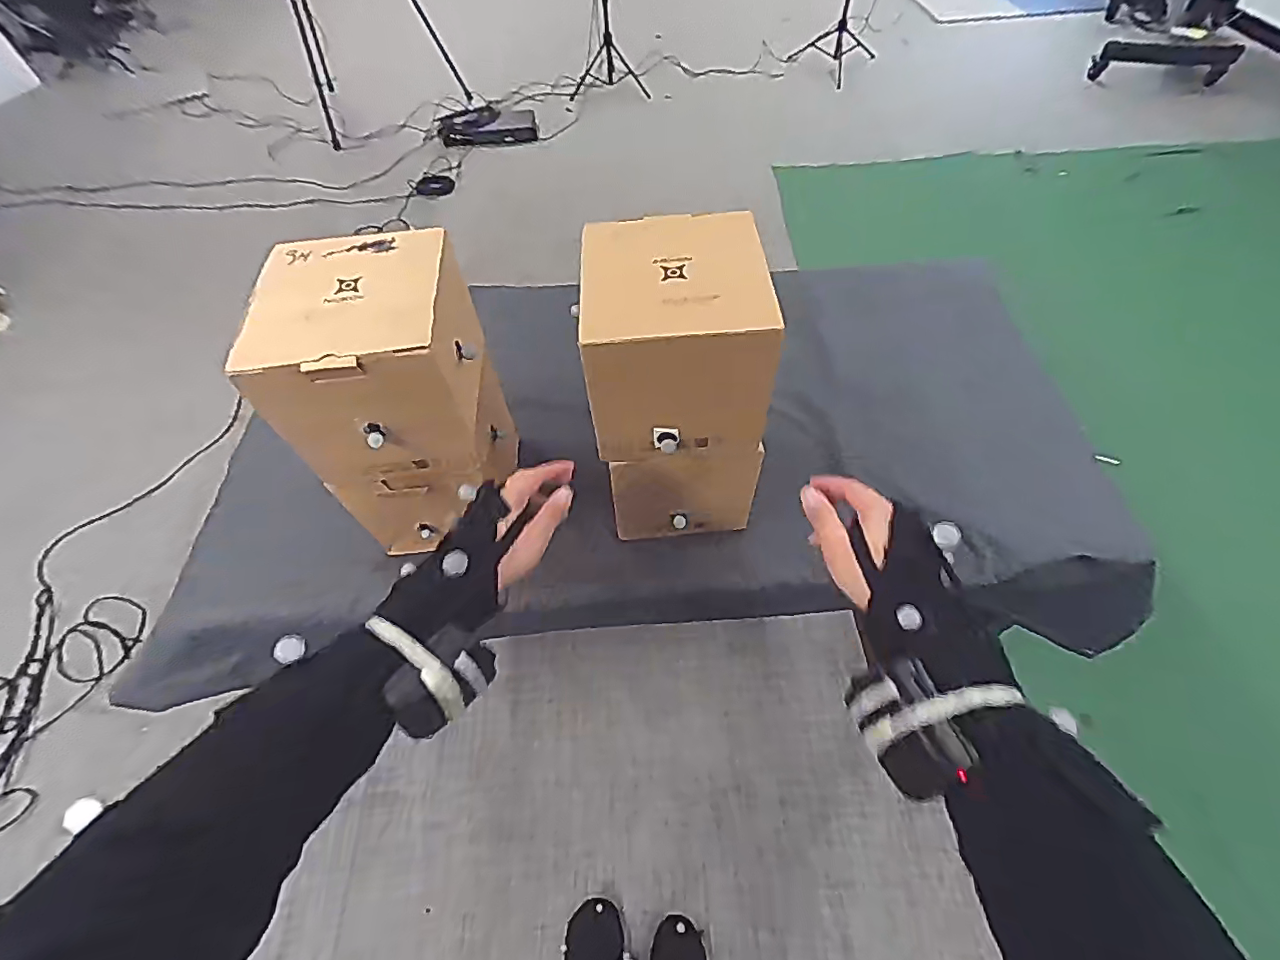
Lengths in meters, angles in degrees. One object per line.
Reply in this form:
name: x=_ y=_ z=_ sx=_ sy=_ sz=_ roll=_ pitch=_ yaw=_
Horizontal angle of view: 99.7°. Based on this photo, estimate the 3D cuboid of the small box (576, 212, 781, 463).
small box: x=0.031 y=-0.137 z=0.537 sx=0.168 sy=0.176 sz=0.179 roll=-4 pitch=56 yaw=1

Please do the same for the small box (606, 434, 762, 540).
small box: x=0.043 y=-0.046 z=0.671 sx=0.168 sy=0.176 sz=0.179 roll=-5 pitch=56 yaw=-1

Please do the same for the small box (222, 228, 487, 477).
small box: x=-0.256 y=-0.116 z=0.538 sx=0.168 sy=0.176 sz=0.179 roll=-7 pitch=57 yaw=-3

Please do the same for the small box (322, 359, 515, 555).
small box: x=-0.256 y=-0.026 z=0.675 sx=0.168 sy=0.176 sz=0.179 roll=-6 pitch=56 yaw=-2
